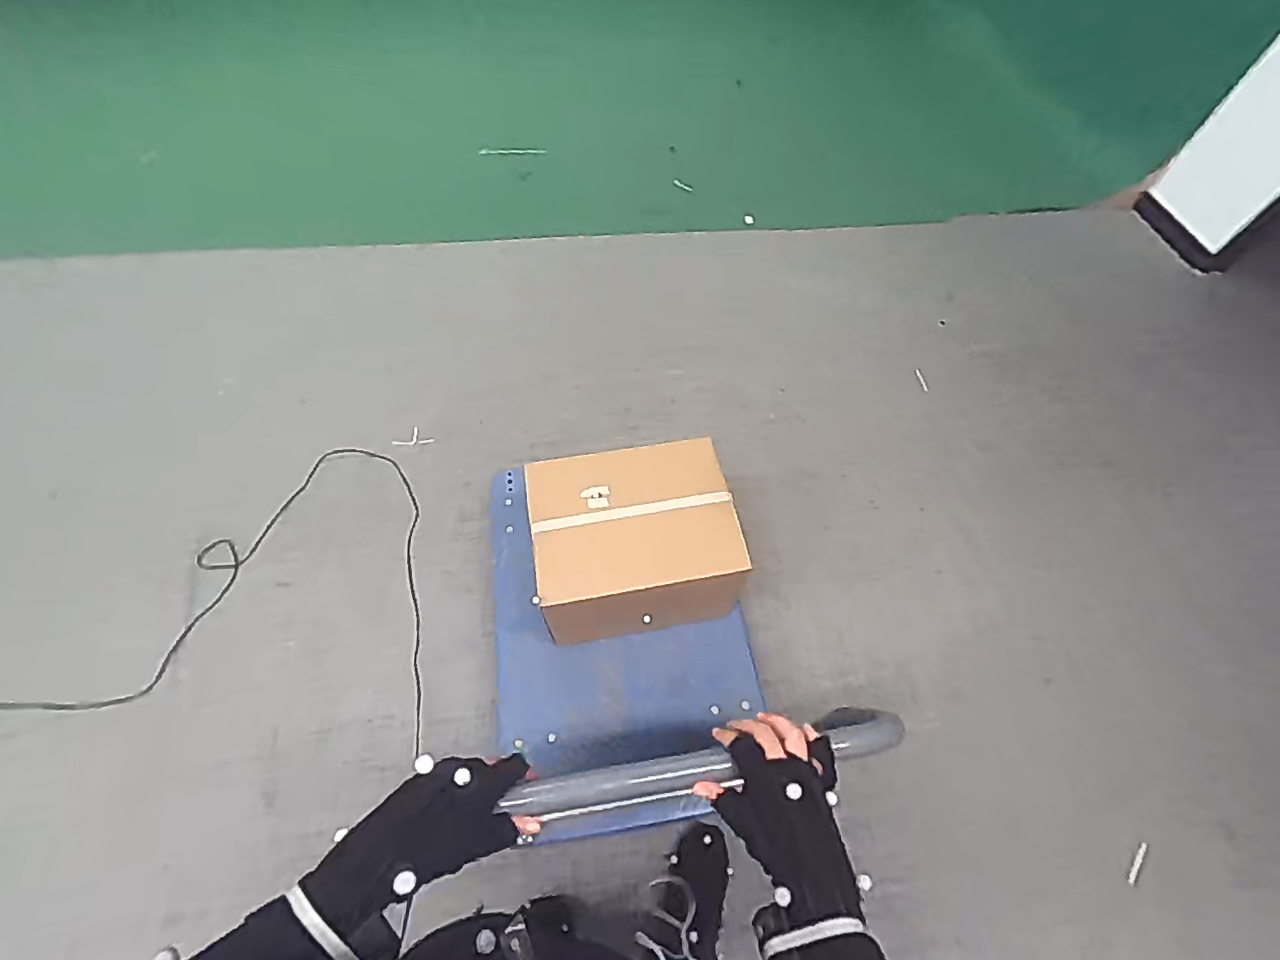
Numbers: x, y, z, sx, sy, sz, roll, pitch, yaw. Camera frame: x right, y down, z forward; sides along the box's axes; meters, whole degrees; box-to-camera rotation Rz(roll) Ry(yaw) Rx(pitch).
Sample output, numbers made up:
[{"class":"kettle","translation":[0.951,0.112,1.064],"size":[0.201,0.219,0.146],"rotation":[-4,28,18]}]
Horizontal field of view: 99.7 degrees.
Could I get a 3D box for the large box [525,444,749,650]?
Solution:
[{"class":"large box","translation":[-0.016,0.158,1.204],"size":[0.408,0.320,0.320],"rotation":[-9,59,-6]}]
